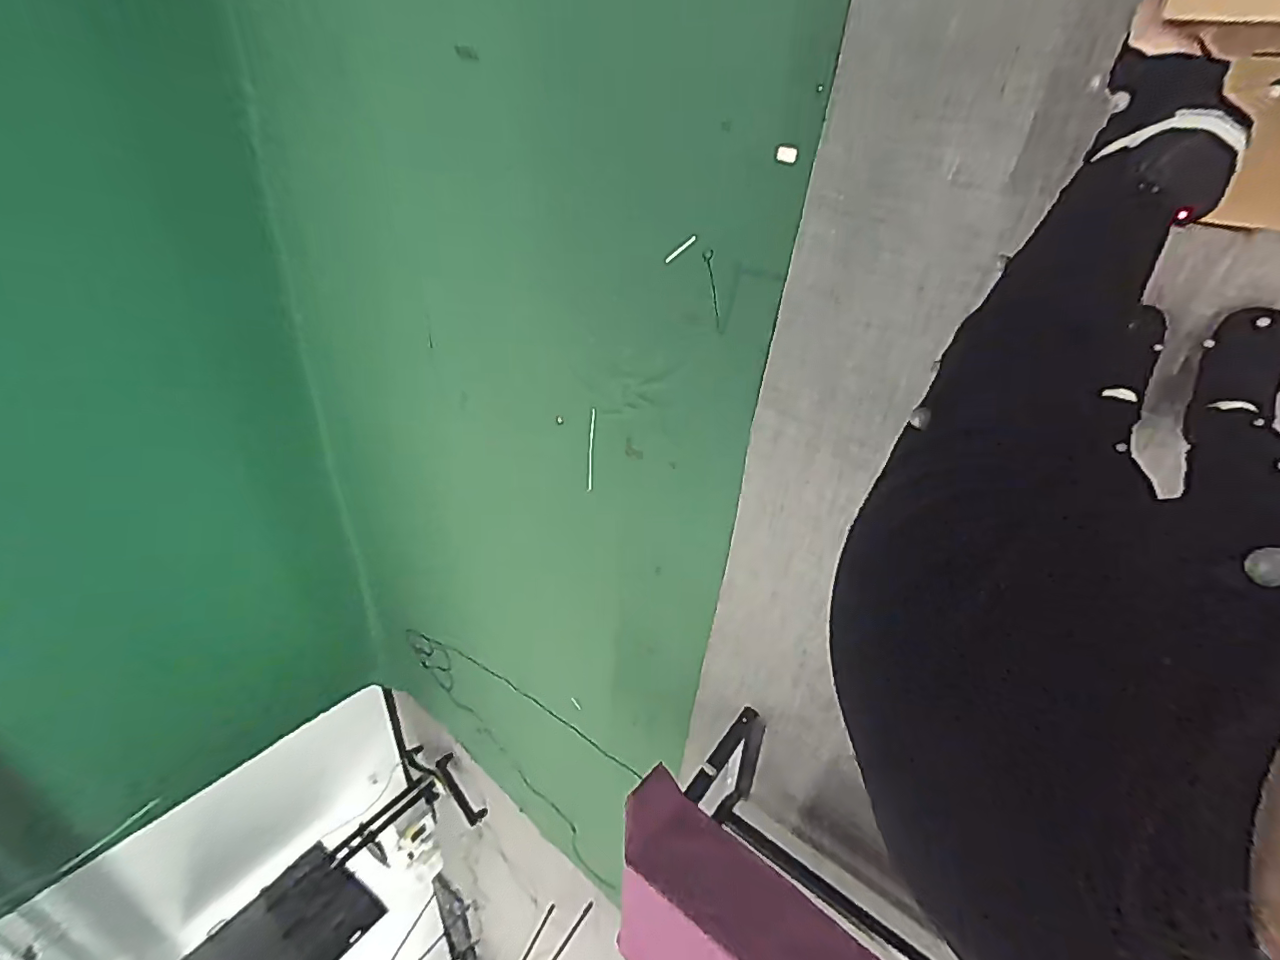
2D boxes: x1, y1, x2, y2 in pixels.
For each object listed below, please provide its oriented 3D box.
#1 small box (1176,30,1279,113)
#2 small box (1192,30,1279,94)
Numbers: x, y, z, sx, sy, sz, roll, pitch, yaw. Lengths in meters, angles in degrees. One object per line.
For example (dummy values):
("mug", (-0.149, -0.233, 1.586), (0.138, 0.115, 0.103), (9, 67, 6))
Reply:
("small box", (0.727, -0.502, 0.573), (0.179, 0.176, 0.168), (26, 124, 30))
("small box", (0.623, -0.448, 0.459), (0.168, 0.176, 0.179), (27, 126, 29))
